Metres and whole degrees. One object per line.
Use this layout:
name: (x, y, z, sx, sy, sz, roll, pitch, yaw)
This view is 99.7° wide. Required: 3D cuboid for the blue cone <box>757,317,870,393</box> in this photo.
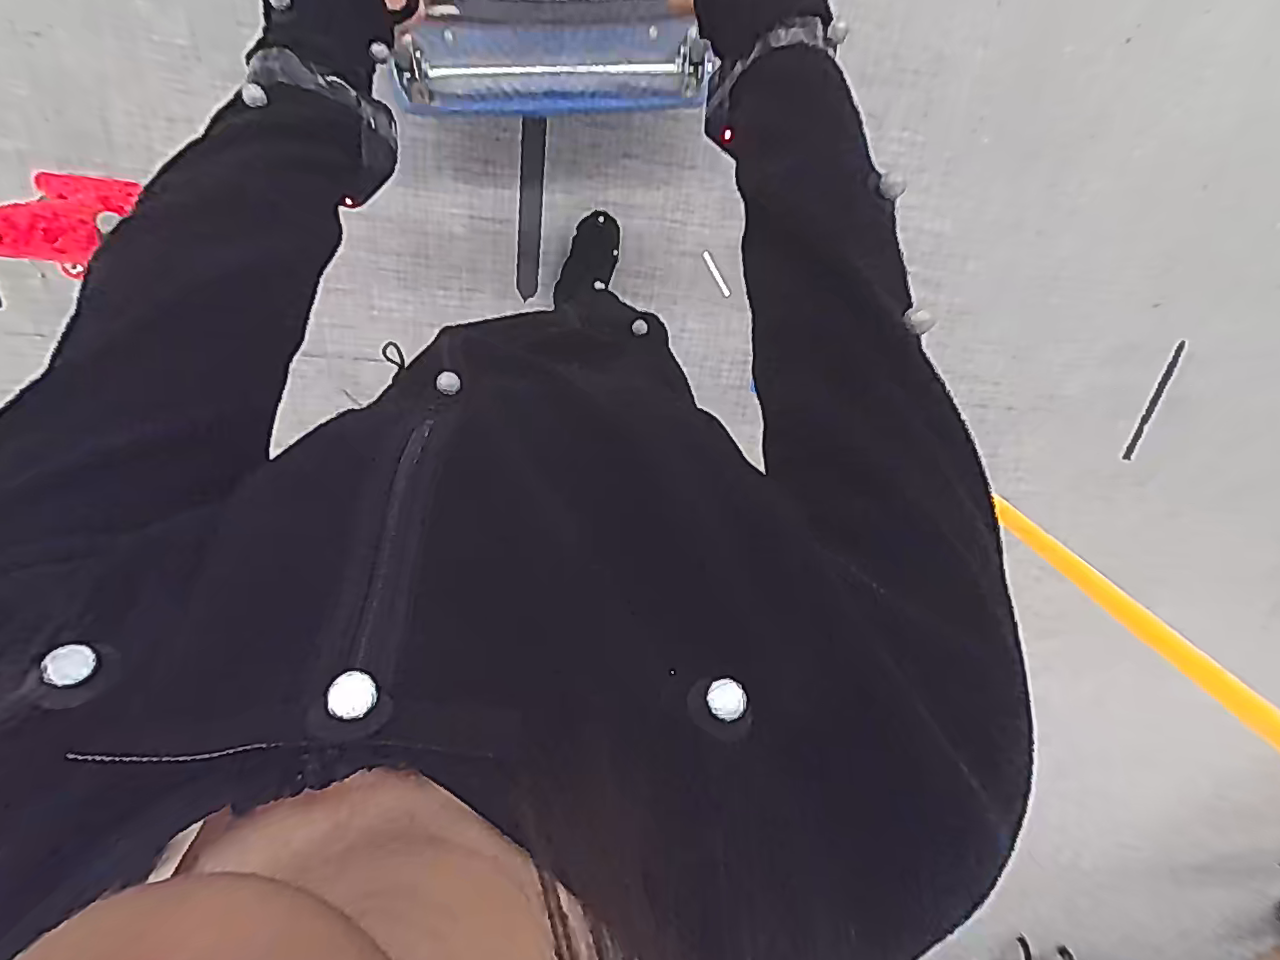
blue cone: (0.422, -0.258, 1.258, 0.193, 0.380, 0.192, 0, 114, -8)
